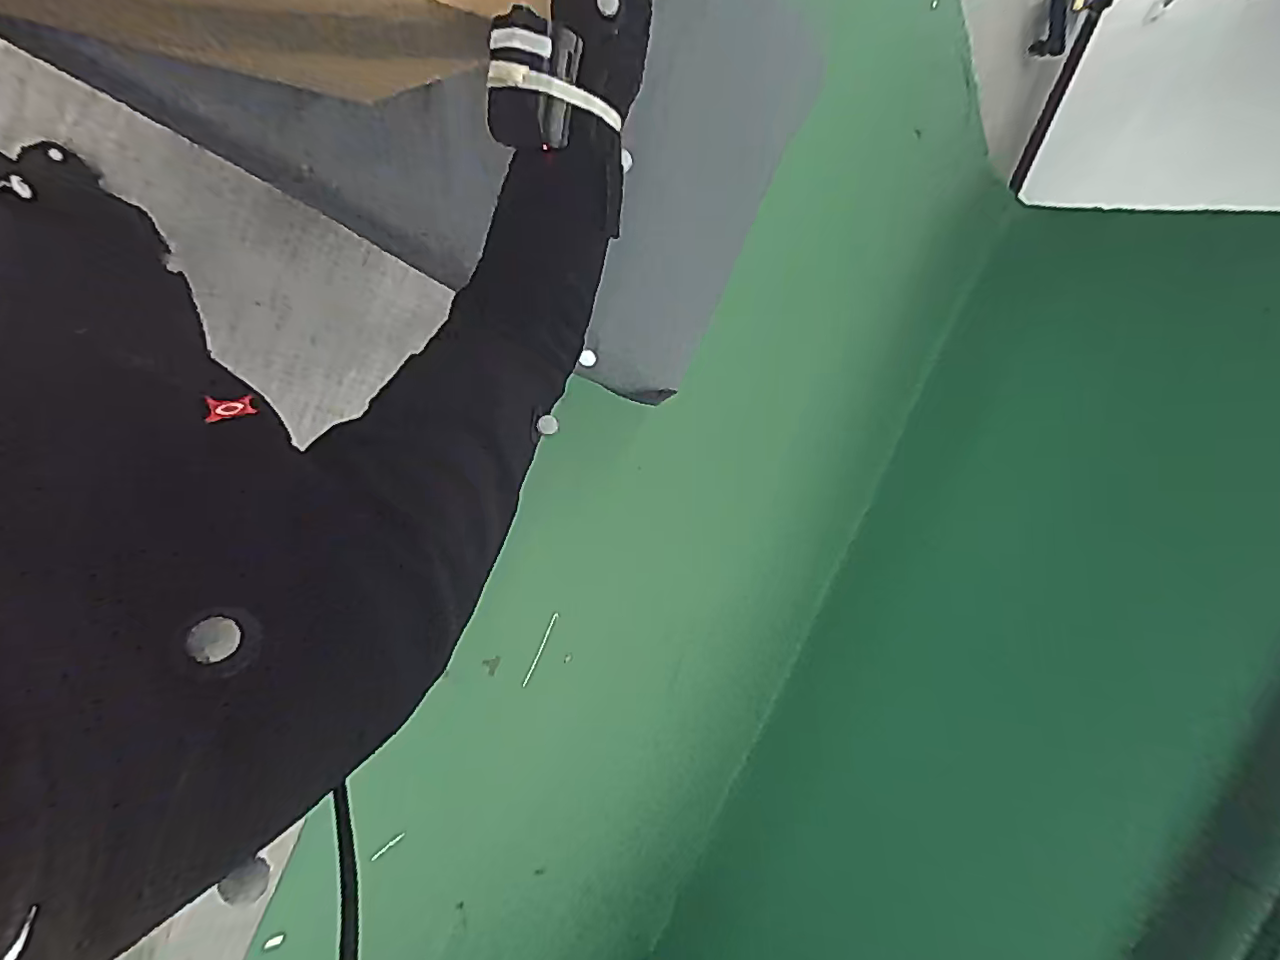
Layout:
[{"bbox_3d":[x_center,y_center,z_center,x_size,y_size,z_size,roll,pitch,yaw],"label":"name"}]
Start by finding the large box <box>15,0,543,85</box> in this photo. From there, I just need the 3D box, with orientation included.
[{"bbox_3d":[-0.297,-0.437,0.253,0.408,0.320,0.320,-17,122,-43],"label":"large box"}]
